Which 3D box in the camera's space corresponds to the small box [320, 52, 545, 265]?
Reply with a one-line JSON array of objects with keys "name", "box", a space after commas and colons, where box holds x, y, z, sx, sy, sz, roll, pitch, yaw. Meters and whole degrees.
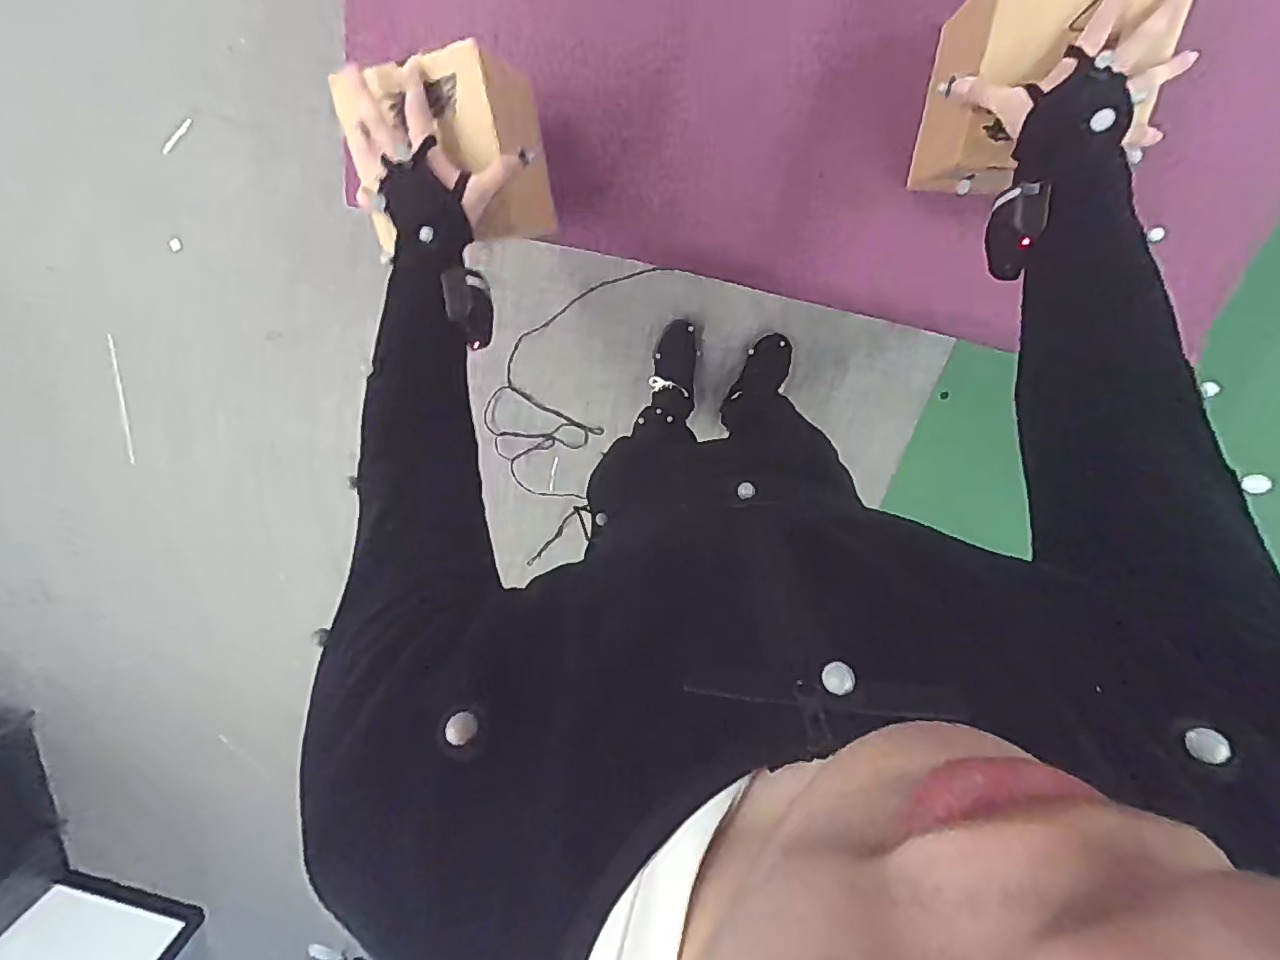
[{"name": "small box", "box": [-0.228, -0.366, 0.647, 0.168, 0.176, 0.179, -6, 115, 11]}]
